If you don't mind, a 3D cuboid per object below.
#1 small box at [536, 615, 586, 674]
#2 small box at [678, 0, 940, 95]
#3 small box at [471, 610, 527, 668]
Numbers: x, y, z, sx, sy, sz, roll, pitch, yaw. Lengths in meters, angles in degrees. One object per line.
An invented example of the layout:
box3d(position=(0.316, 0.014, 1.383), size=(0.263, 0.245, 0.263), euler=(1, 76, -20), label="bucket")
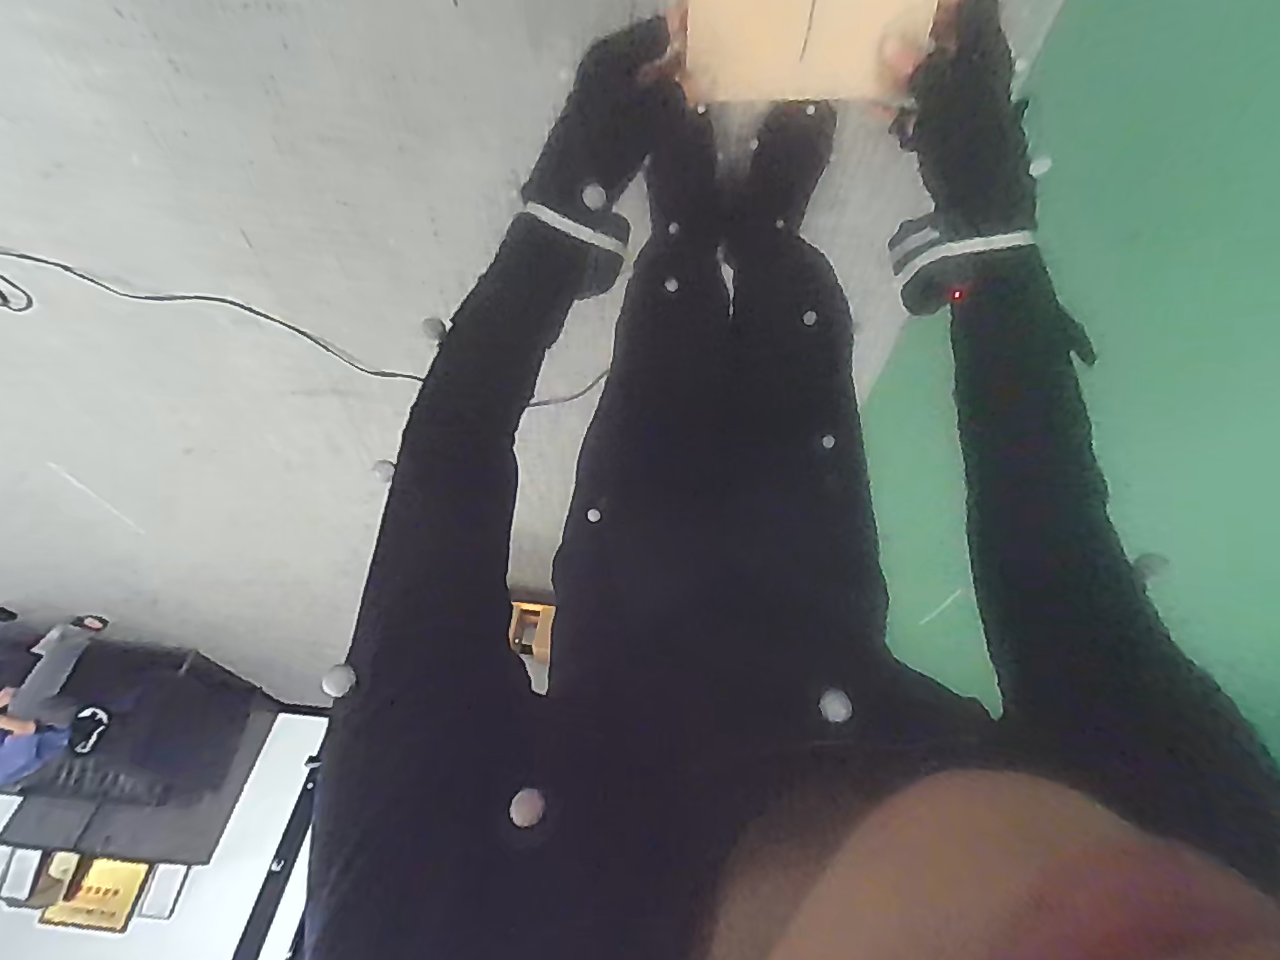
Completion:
box3d(position=(-0.311, 0.652, 2.149), size=(0.168, 0.176, 0.179), euler=(7, 141, 2), label="small box")
box3d(position=(0.116, -0.395, 0.396), size=(0.168, 0.176, 0.179), euler=(-1, 131, 0), label="small box")
box3d(position=(-0.557, 0.633, 2.161), size=(0.168, 0.176, 0.179), euler=(5, 141, 3), label="small box")
